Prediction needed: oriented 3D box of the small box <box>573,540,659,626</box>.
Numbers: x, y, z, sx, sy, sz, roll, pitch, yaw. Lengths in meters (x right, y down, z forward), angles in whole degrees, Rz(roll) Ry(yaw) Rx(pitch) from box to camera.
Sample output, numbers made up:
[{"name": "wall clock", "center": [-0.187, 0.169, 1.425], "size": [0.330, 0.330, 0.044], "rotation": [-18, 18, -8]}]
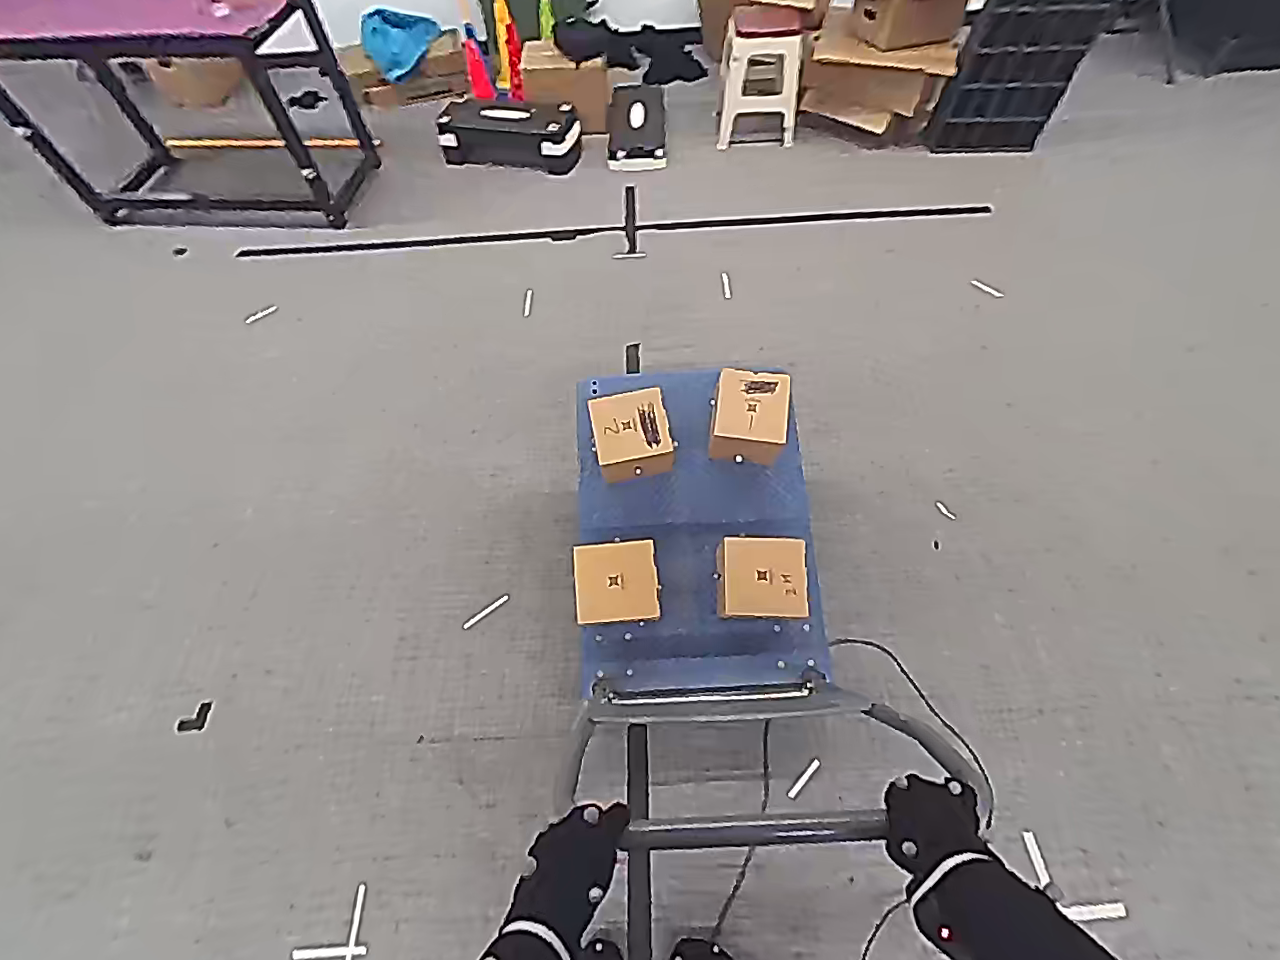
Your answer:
[{"name": "small box", "center": [-0.051, 0.238, 1.222], "size": [0.179, 0.176, 0.168], "rotation": [-5, 73, -2]}]

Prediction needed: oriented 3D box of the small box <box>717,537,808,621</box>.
[{"name": "small box", "center": [0.267, 0.227, 1.217], "size": [0.179, 0.176, 0.168], "rotation": [2, 74, 2]}]

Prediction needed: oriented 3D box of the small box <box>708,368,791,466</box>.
[{"name": "small box", "center": [0.263, -0.150, 1.329], "size": [0.168, 0.176, 0.179], "rotation": [8, 75, 4]}]
